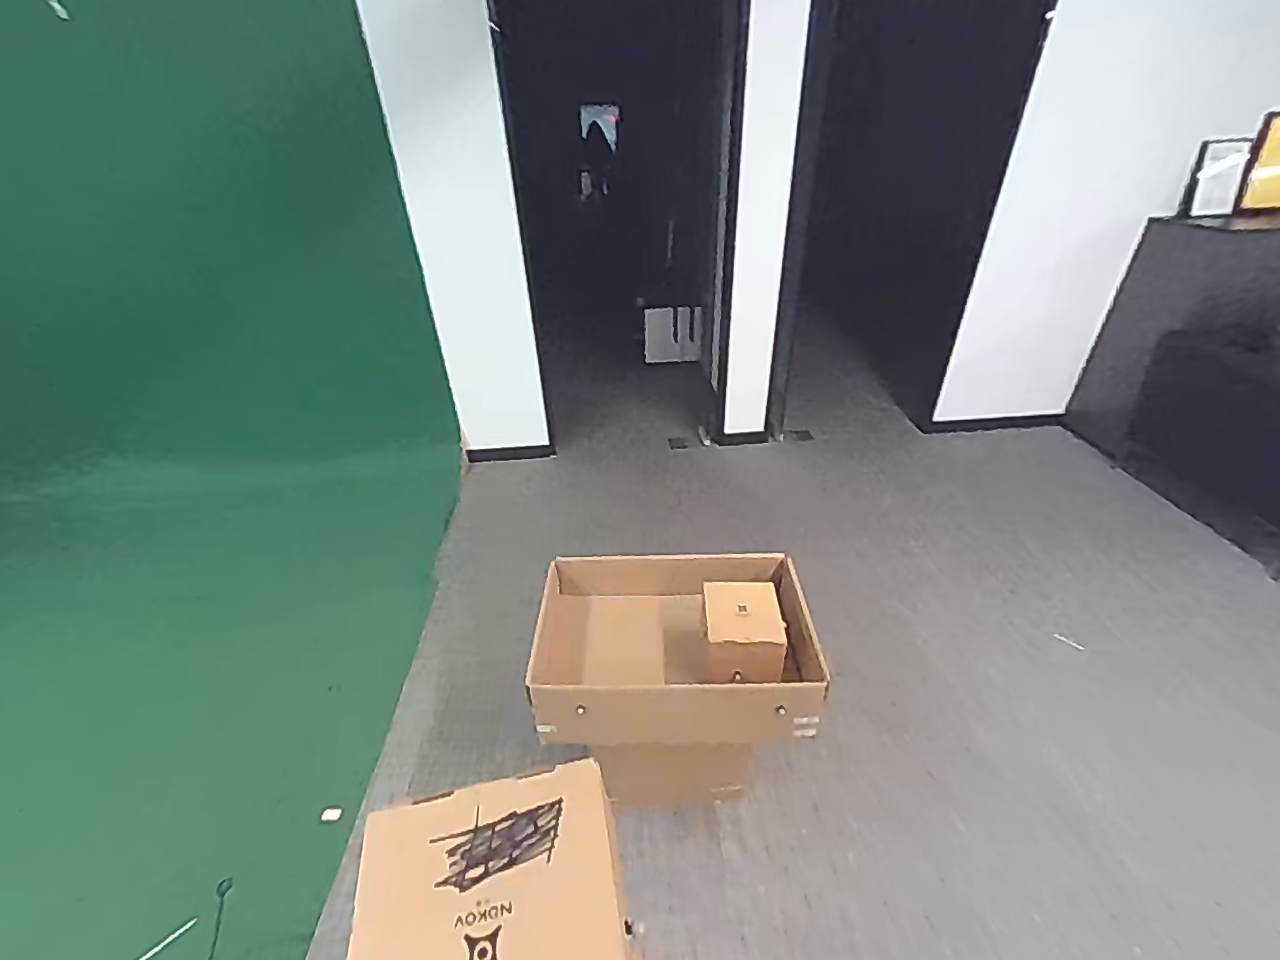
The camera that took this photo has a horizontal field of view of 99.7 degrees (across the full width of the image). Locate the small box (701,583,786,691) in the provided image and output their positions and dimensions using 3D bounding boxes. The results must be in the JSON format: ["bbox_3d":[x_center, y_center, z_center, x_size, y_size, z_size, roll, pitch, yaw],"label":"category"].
[{"bbox_3d":[0.230,0.358,1.242,0.168,0.176,0.179,-1,34,2],"label":"small box"}]

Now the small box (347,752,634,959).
[{"bbox_3d":[-0.094,0.333,0.392,0.168,0.176,0.179,-11,44,-6],"label":"small box"}]
